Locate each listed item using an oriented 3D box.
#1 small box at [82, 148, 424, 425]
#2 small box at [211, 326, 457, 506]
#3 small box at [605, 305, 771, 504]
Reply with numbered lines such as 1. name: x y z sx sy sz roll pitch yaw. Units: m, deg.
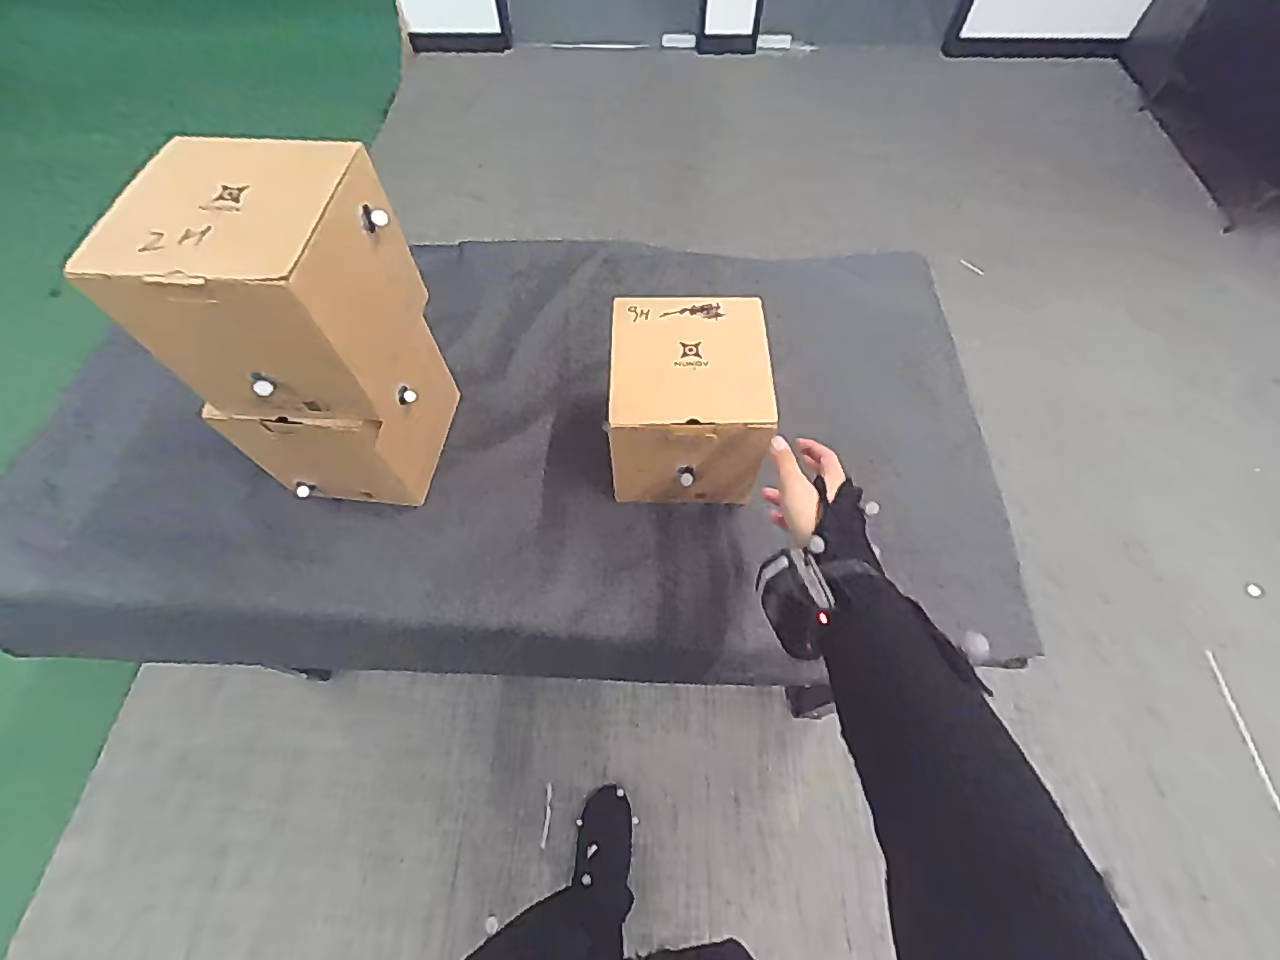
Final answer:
1. small box: -0.321 -0.173 0.501 0.168 0.176 0.179 2 60 2
2. small box: -0.336 -0.085 0.640 0.168 0.176 0.179 5 60 3
3. small box: 0.050 -0.082 0.636 0.168 0.176 0.179 1 61 1
